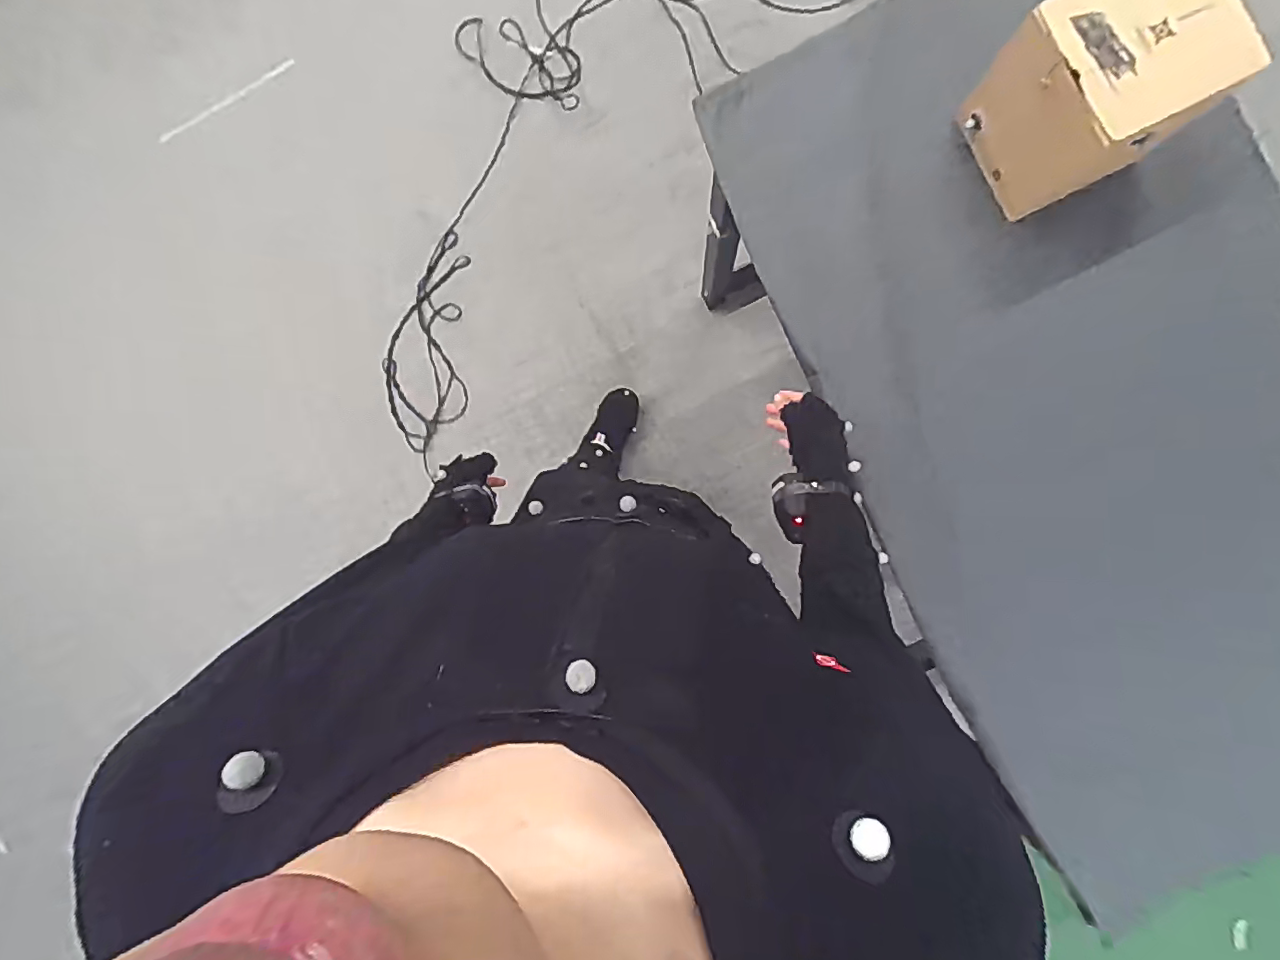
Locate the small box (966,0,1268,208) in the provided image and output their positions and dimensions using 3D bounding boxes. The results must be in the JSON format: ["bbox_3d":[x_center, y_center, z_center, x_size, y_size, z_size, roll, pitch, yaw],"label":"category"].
[{"bbox_3d":[0.516,-0.455,0.622,0.179,0.176,0.168,-27,89,3],"label":"small box"}]
